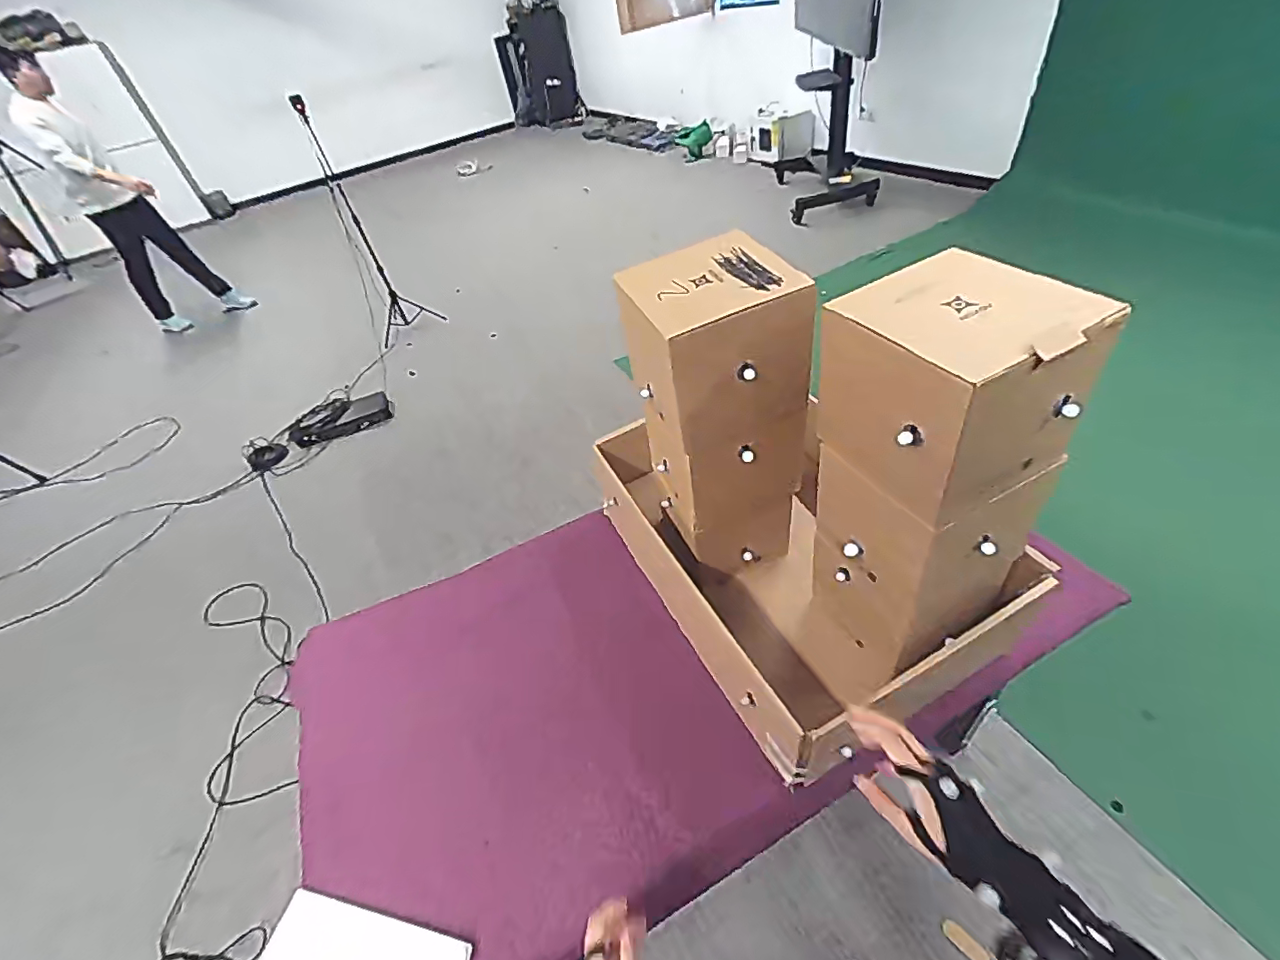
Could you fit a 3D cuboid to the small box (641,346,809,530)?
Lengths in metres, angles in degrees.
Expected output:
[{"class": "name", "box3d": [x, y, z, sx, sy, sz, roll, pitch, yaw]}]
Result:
[{"class": "small box", "box3d": [0.120, -0.059, 0.783, 0.179, 0.176, 0.168, -22, 47, -8]}]

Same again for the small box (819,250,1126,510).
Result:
[{"class": "small box", "box3d": [0.296, -0.093, 0.528, 0.168, 0.176, 0.179, -25, 43, -11]}]

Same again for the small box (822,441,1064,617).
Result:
[{"class": "small box", "box3d": [0.332, 0.025, 0.635, 0.179, 0.176, 0.168, -26, 44, -10]}]
